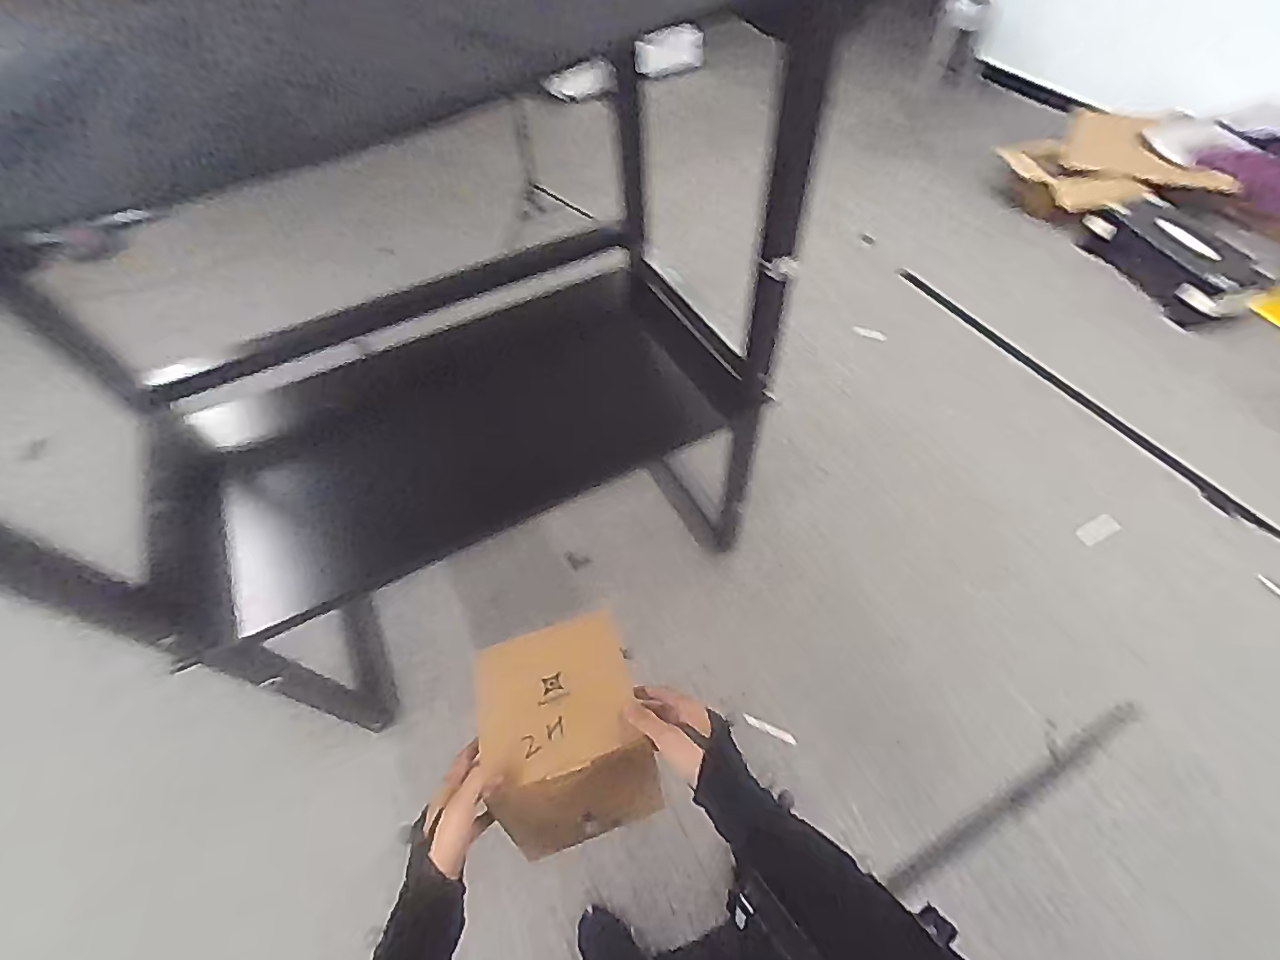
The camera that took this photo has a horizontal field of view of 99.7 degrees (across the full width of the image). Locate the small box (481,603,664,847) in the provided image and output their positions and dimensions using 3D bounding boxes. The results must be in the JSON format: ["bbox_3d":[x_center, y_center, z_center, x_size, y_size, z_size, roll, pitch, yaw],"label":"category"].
[{"bbox_3d":[-0.079,0.280,0.629,0.168,0.176,0.179,-16,38,-8],"label":"small box"}]
